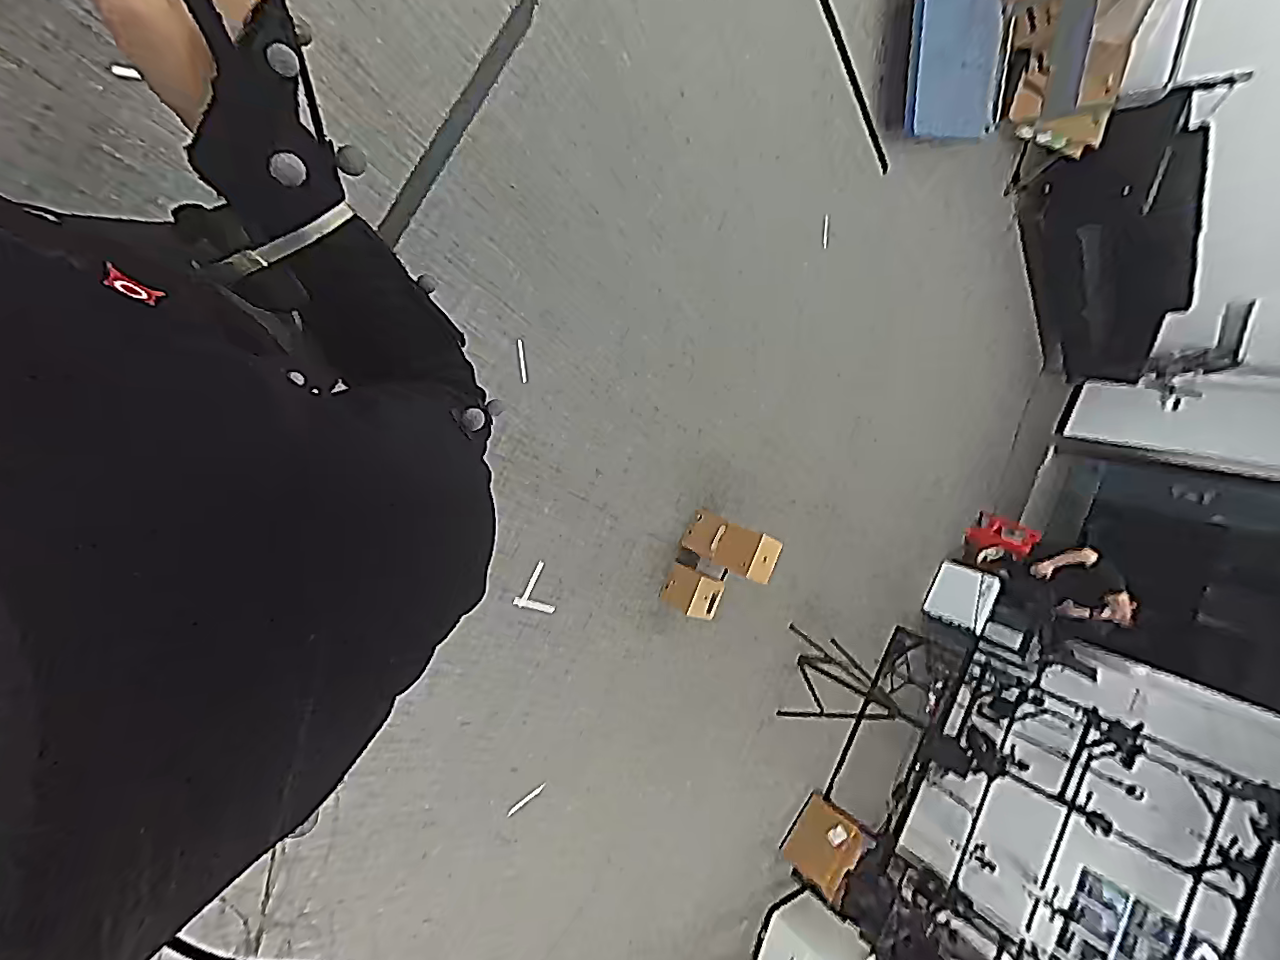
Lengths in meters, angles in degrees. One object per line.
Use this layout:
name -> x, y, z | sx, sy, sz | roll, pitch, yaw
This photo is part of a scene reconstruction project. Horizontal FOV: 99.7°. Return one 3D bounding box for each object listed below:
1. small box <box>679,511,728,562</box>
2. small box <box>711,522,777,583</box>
small box -> 0.289, 0.241, 2.231 | 0.179, 0.176, 0.168 | 36, 79, -45
small box -> 0.404, 0.281, 2.124 | 0.168, 0.176, 0.179 | 25, 87, -45
